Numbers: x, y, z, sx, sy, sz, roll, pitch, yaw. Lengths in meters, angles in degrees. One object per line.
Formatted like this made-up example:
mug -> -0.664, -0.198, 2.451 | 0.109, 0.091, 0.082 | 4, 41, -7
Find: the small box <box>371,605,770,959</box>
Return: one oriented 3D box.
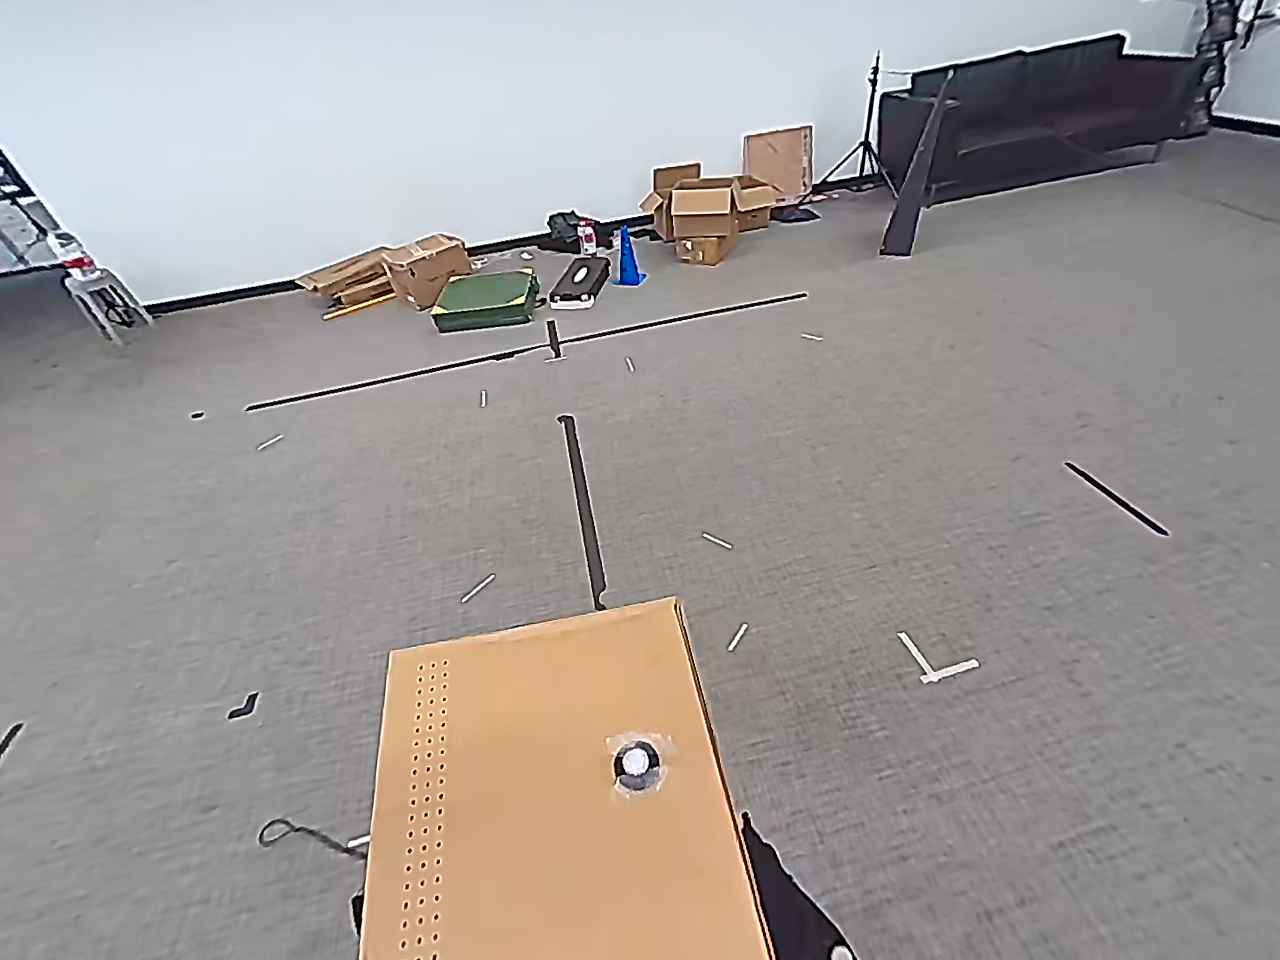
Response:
small box -> -0.040, 0.203, 0.325 | 0.176, 0.168, 0.179 | -10, 51, -4
